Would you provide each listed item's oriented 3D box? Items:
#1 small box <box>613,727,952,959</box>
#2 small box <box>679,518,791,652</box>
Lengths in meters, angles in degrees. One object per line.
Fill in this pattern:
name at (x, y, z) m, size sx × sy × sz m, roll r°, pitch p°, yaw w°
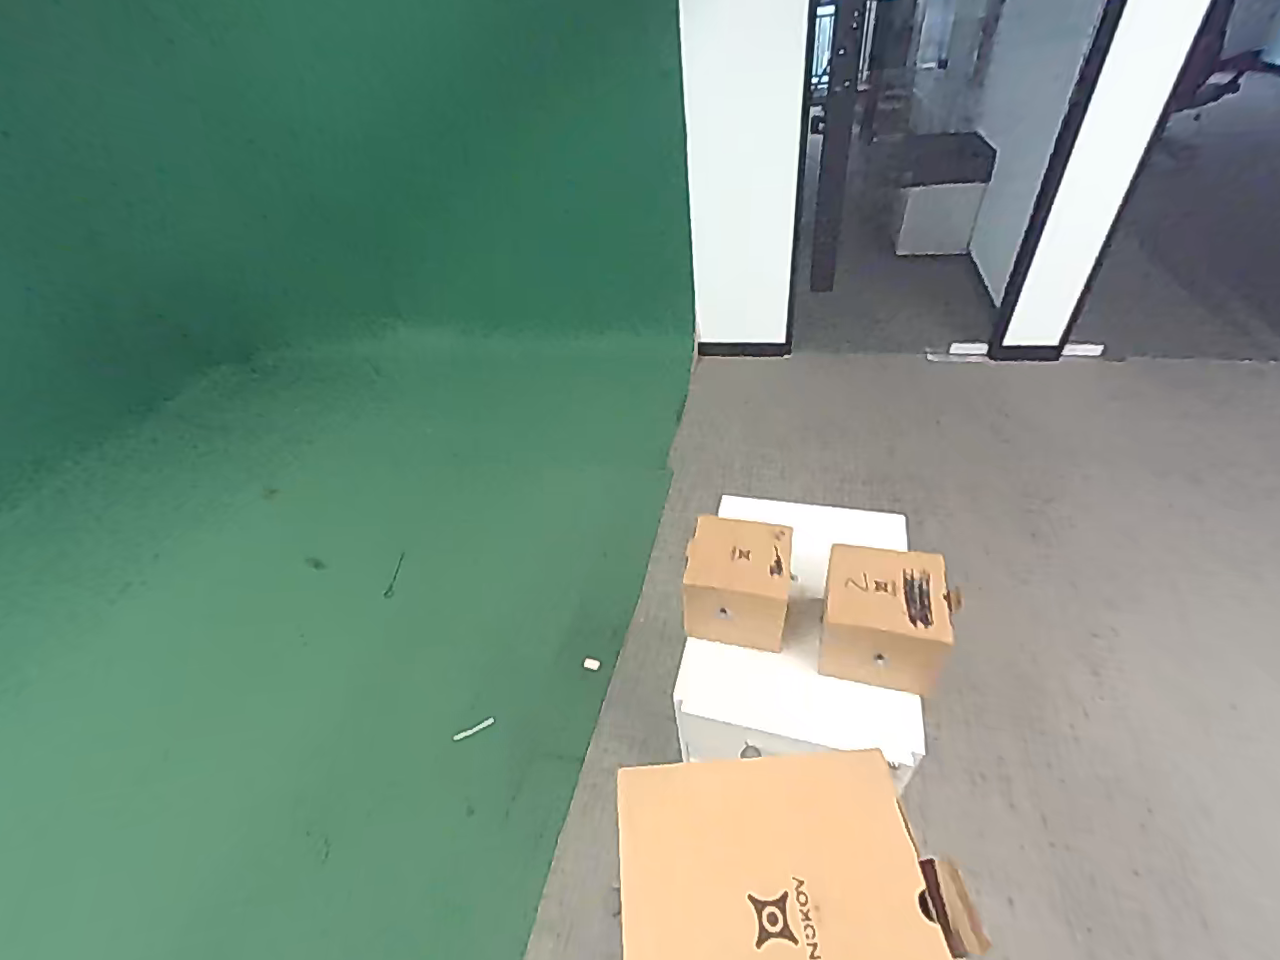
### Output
small box at (0.075, 0.286, 0.362) m, size 0.179 × 0.176 × 0.168 m, roll -3°, pitch 45°, yaw -3°
small box at (0.177, 0.194, 0.995) m, size 0.179 × 0.176 × 0.168 m, roll 6°, pitch 43°, yaw 15°
